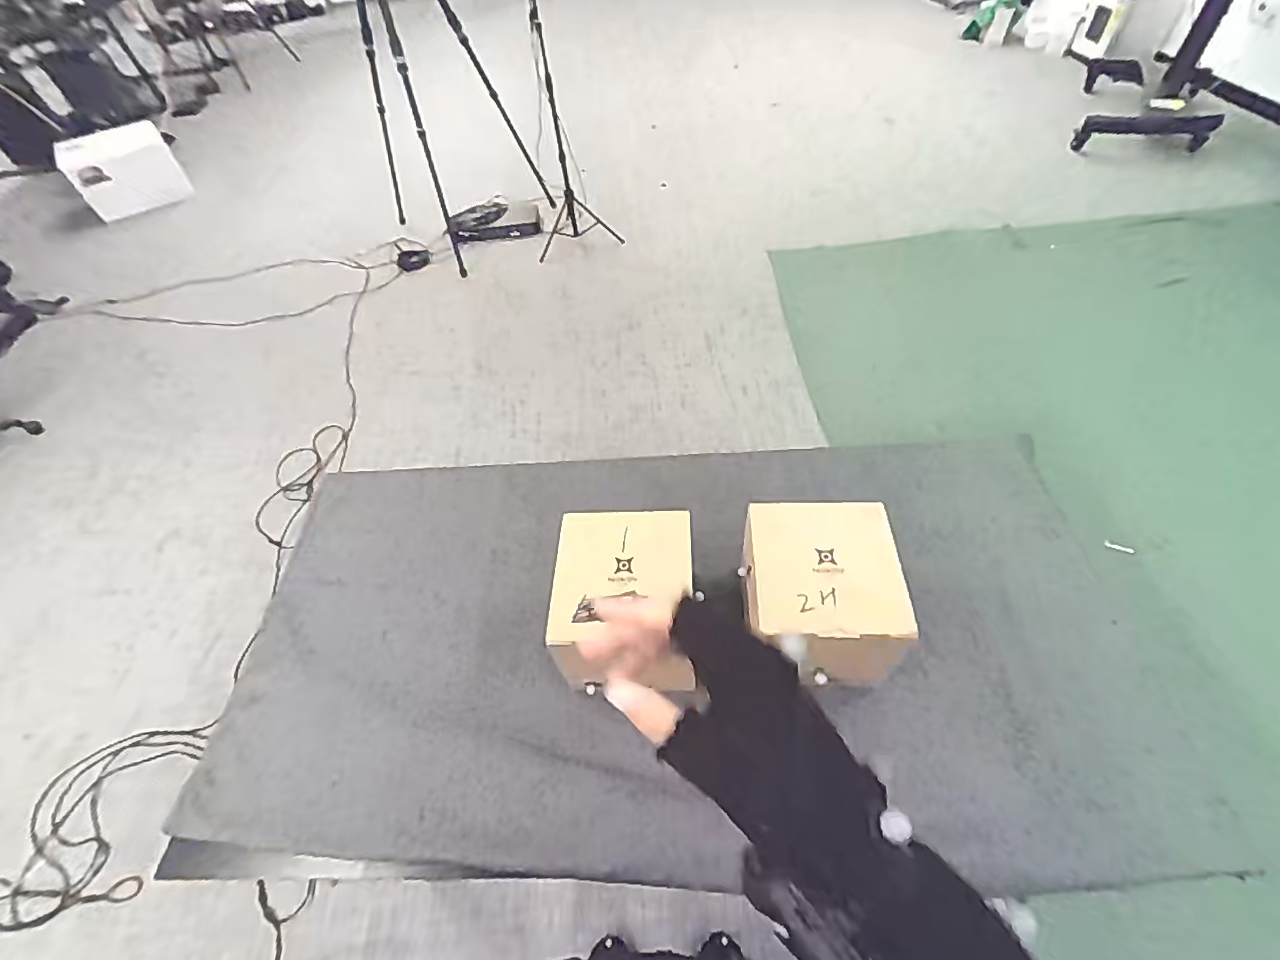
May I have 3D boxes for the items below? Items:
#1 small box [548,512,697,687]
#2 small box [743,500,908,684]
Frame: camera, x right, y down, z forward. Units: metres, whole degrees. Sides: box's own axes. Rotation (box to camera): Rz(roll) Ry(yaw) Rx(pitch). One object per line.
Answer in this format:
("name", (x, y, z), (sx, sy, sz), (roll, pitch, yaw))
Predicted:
("small box", (-0.011, 0.160, 0.705), (0.168, 0.176, 0.179), (-1, 51, 5))
("small box", (0.220, 0.145, 0.695), (0.168, 0.176, 0.179), (2, 55, 9))
